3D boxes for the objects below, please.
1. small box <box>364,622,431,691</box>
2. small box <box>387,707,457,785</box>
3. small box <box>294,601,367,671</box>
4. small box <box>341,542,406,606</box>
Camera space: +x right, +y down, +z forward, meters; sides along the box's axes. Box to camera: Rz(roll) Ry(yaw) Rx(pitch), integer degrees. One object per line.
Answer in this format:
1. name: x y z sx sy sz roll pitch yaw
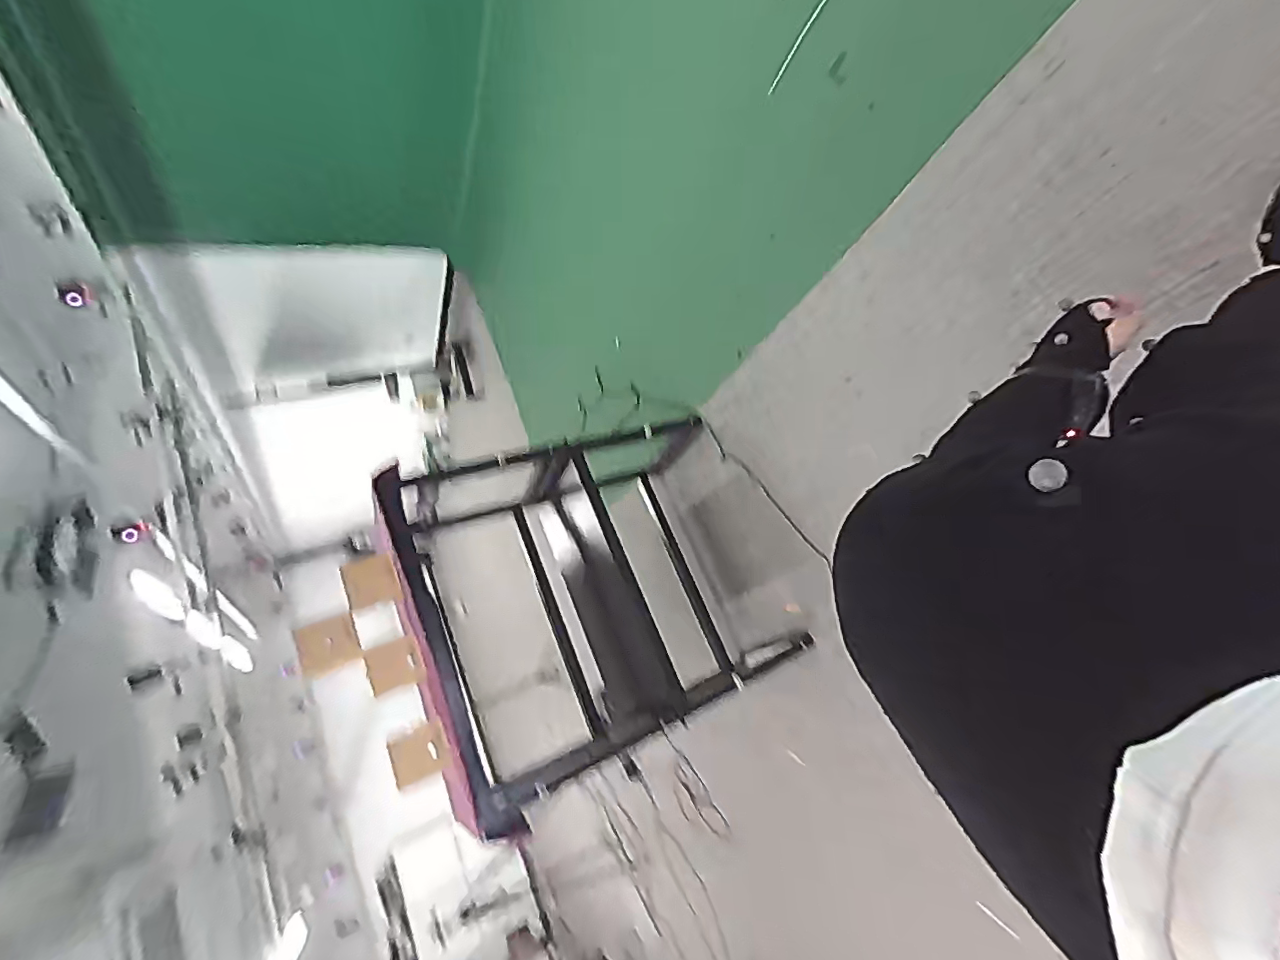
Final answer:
1. small box: -0.808 0.590 1.806 0.179 0.176 0.168 -44 66 57
2. small box: -0.688 0.837 1.710 0.168 0.176 0.179 66 148 16
3. small box: -1.003 0.507 1.765 0.179 0.176 0.168 -44 65 58
4. small box: -0.922 0.329 1.879 0.179 0.176 0.168 -34 74 60
